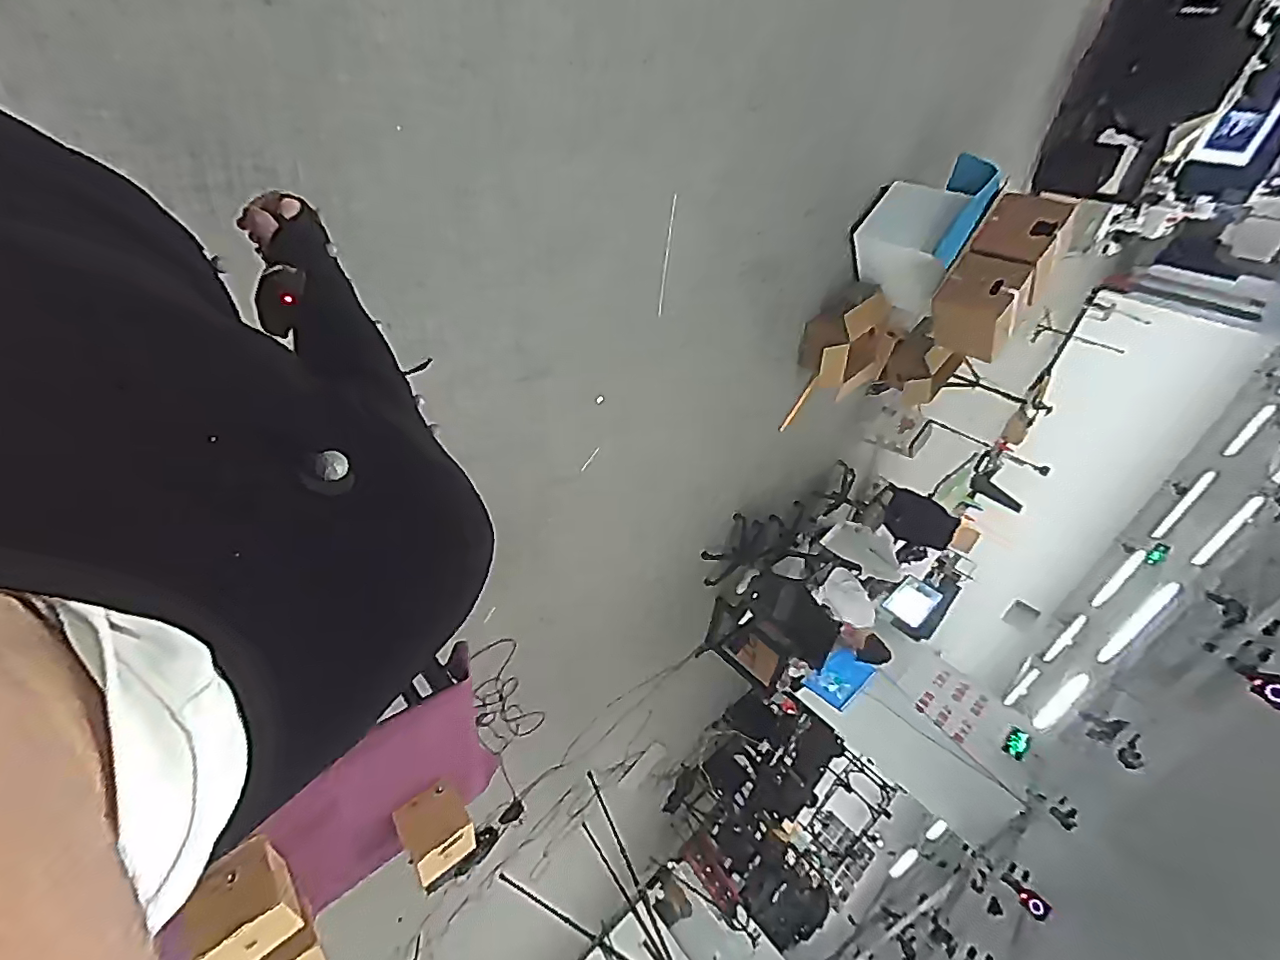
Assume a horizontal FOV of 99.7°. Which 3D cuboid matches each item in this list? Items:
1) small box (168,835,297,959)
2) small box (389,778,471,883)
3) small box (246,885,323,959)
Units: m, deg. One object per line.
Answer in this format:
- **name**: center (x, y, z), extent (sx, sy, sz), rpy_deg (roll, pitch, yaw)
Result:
- **small box**: center (-0.881, 0.923, 1.175), extent (0.168, 0.176, 0.179), rpy_deg (-26, 138, -35)
- **small box**: center (-0.614, 1.013, 1.579), extent (0.168, 0.176, 0.179), rpy_deg (-23, 136, -37)
- **small box**: center (-0.919, 1.163, 1.347), extent (0.168, 0.176, 0.179), rpy_deg (-21, 134, -39)
